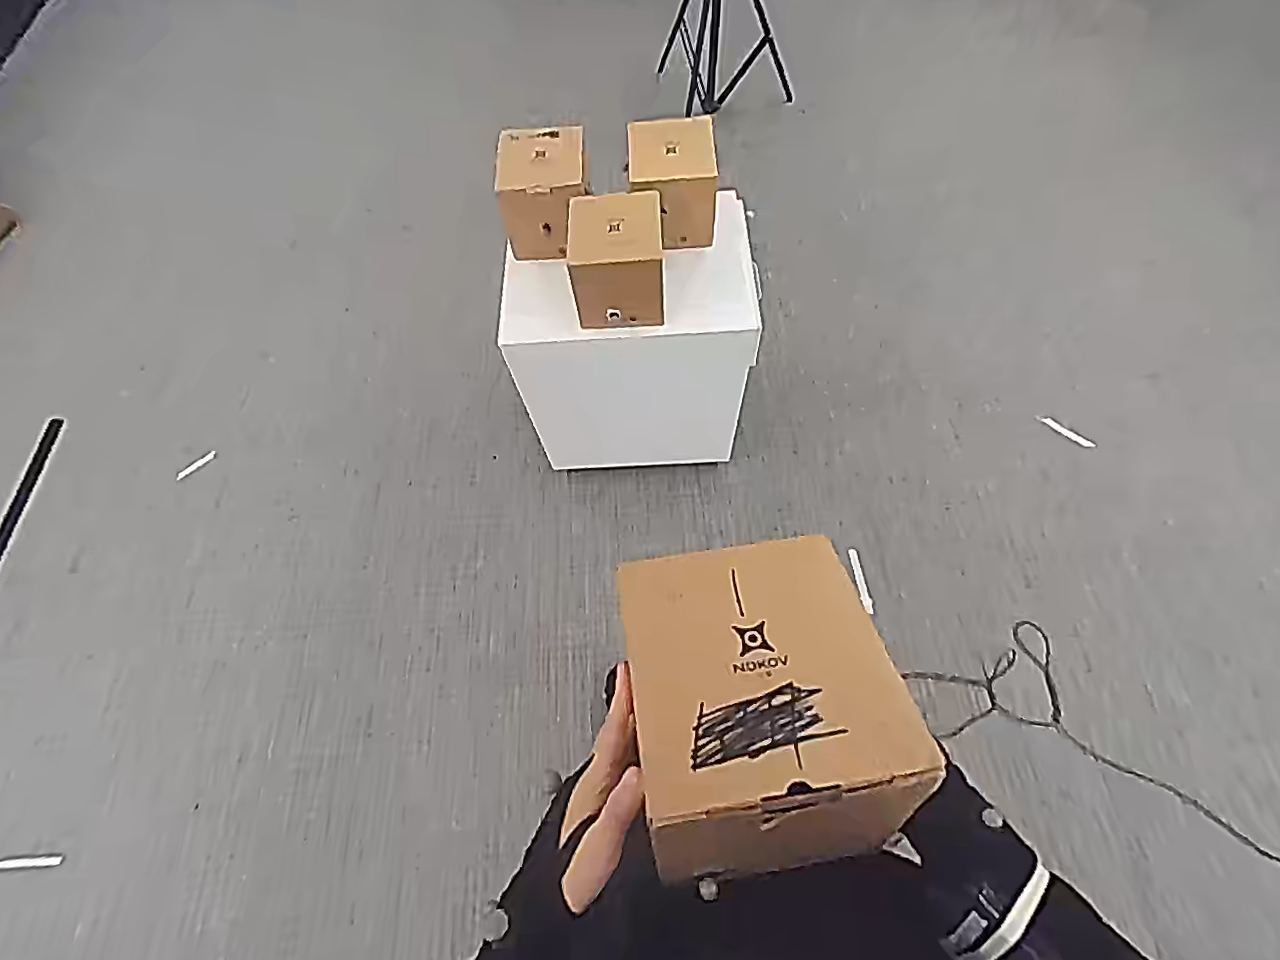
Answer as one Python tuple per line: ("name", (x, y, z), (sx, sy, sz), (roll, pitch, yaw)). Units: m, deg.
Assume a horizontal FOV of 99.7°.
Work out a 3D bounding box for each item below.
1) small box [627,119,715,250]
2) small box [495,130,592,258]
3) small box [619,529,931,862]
("small box", (0.063, -0.591, 1.102), (0.168, 0.176, 0.179), (-3, 65, 2))
("small box", (-0.188, -0.575, 1.107), (0.168, 0.176, 0.179), (-3, 67, 1))
("small box", (0.079, 0.165, 0.410), (0.168, 0.176, 0.179), (-8, 42, -3))
